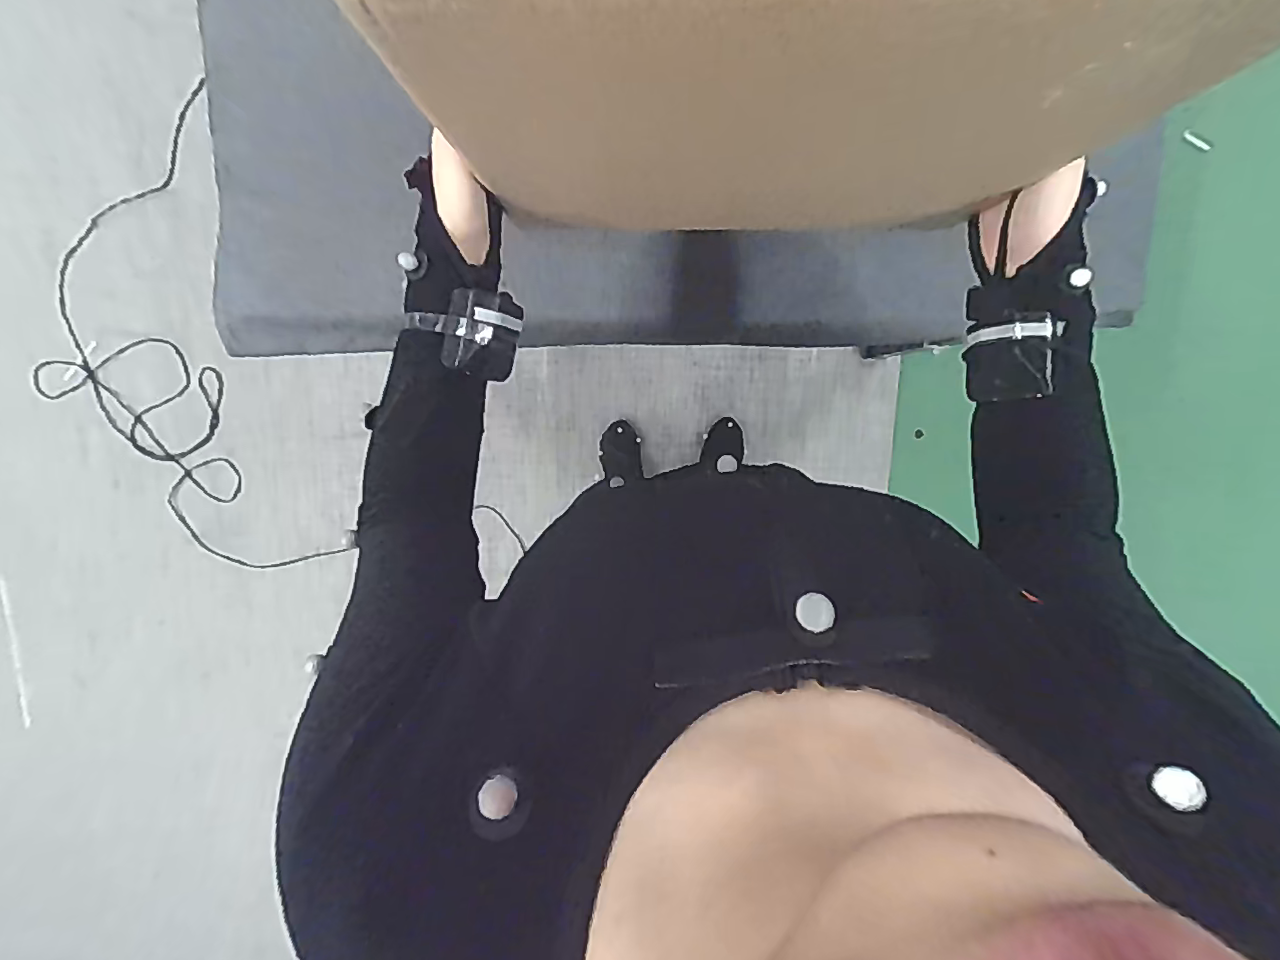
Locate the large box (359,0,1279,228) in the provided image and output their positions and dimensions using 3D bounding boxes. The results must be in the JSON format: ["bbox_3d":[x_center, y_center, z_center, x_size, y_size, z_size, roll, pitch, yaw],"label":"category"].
[{"bbox_3d":[0.077,-0.366,0.332,0.408,0.320,0.320,-1,100,0],"label":"large box"}]
